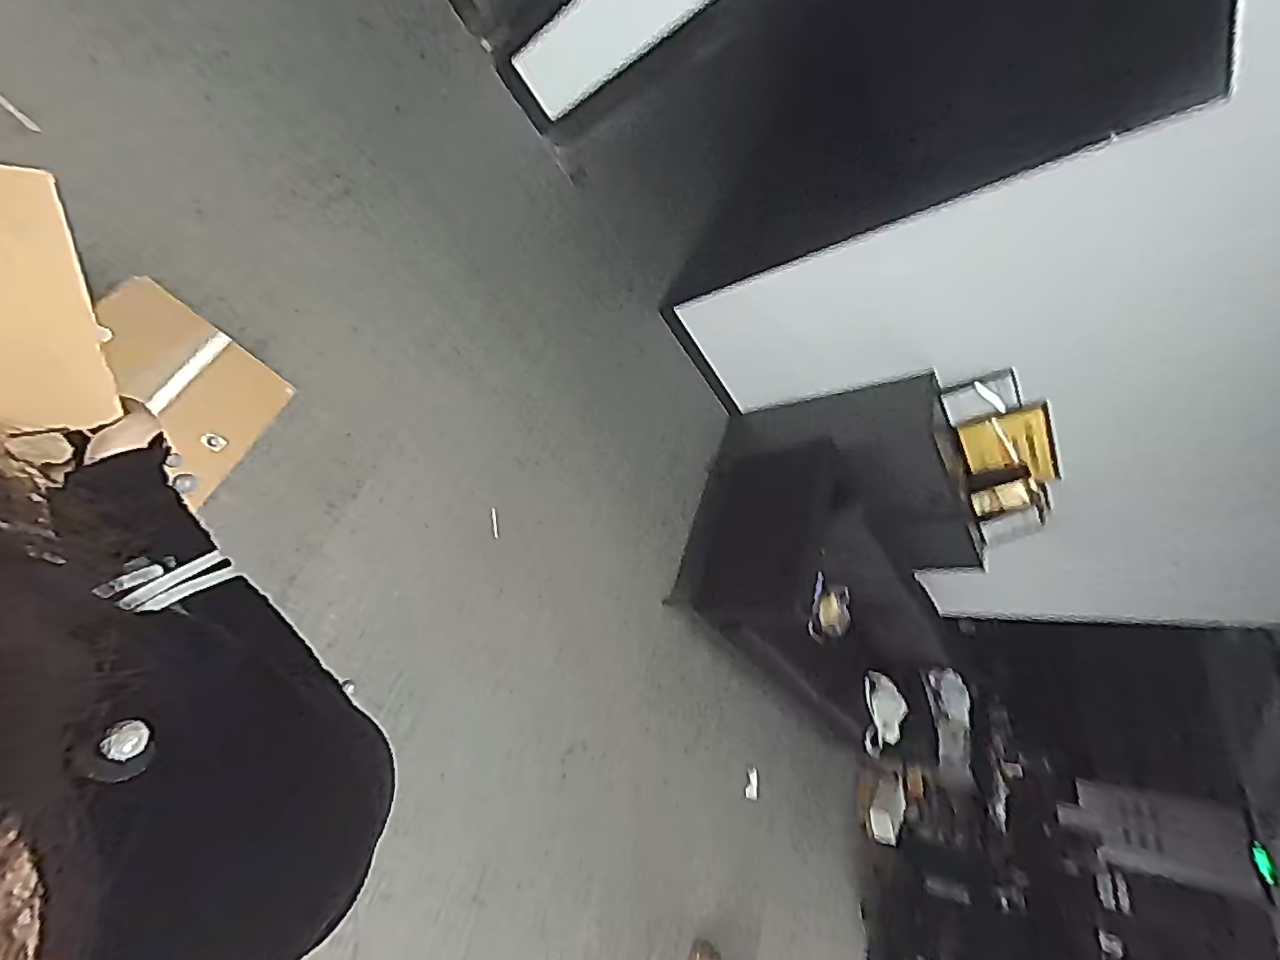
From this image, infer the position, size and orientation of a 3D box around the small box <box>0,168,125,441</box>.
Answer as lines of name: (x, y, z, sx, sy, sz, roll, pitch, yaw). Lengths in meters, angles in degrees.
small box: (-0.509, -0.118, 0.385, 0.168, 0.176, 0.179, -21, 113, -46)
